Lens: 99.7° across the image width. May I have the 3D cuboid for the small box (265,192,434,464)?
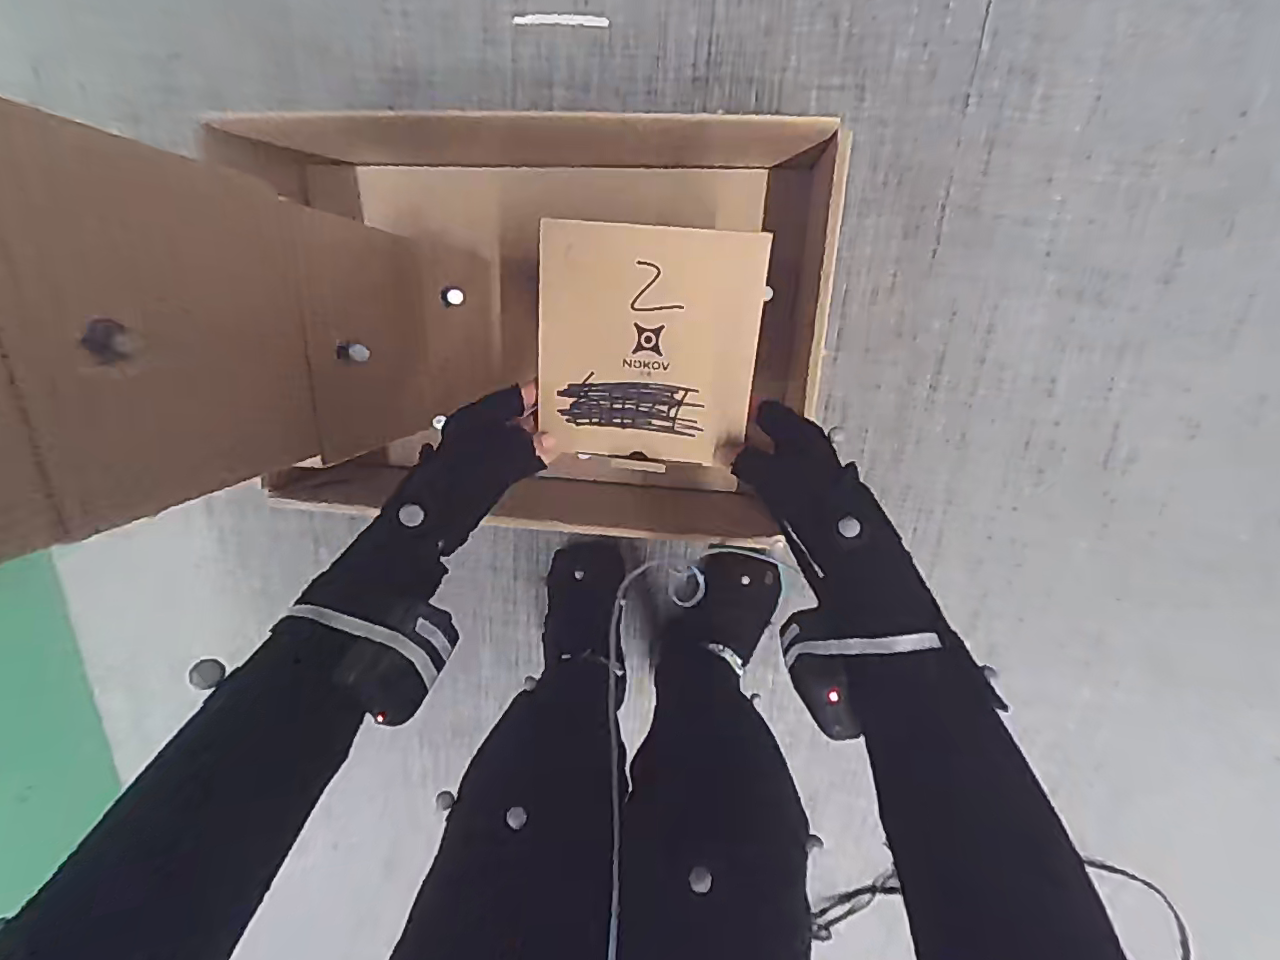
[{"bbox_3d":[-0.286,-0.123,0.440,0.168,0.176,0.179,4,108,6],"label":"small box"}]
